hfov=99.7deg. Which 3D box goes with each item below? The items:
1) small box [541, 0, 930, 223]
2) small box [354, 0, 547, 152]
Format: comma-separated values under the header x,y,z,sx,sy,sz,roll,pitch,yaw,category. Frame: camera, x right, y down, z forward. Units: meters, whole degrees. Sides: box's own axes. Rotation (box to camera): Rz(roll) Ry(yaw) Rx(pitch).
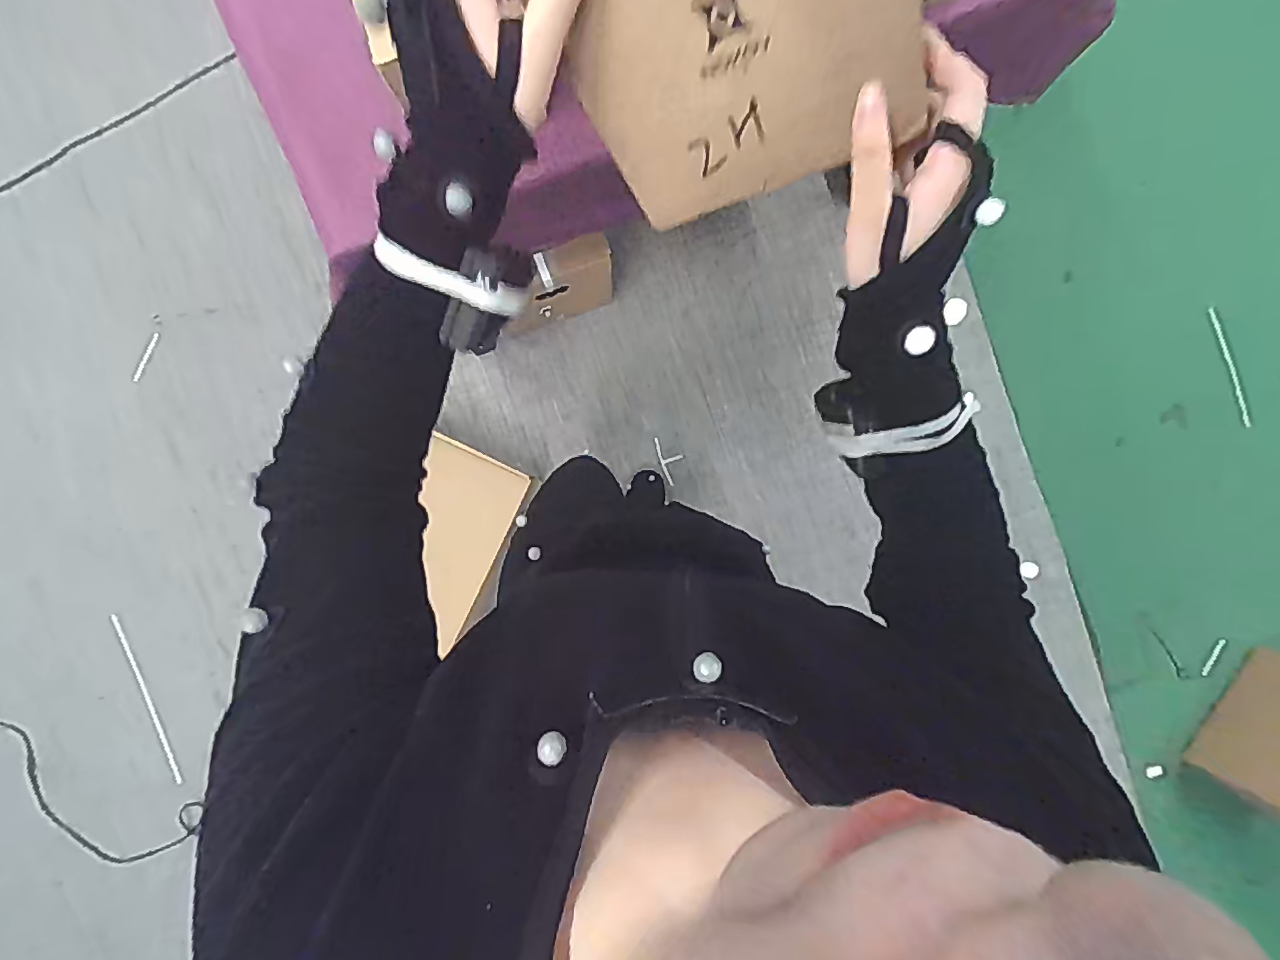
x,y,z,sx,sy,sz,roll,pitch,yaw,category
0.055,-0.290,0.296,0.168,0.179,0.176,-6,60,29,small box
-0.231,-0.549,0.671,0.179,0.176,0.168,-19,92,-1,small box
